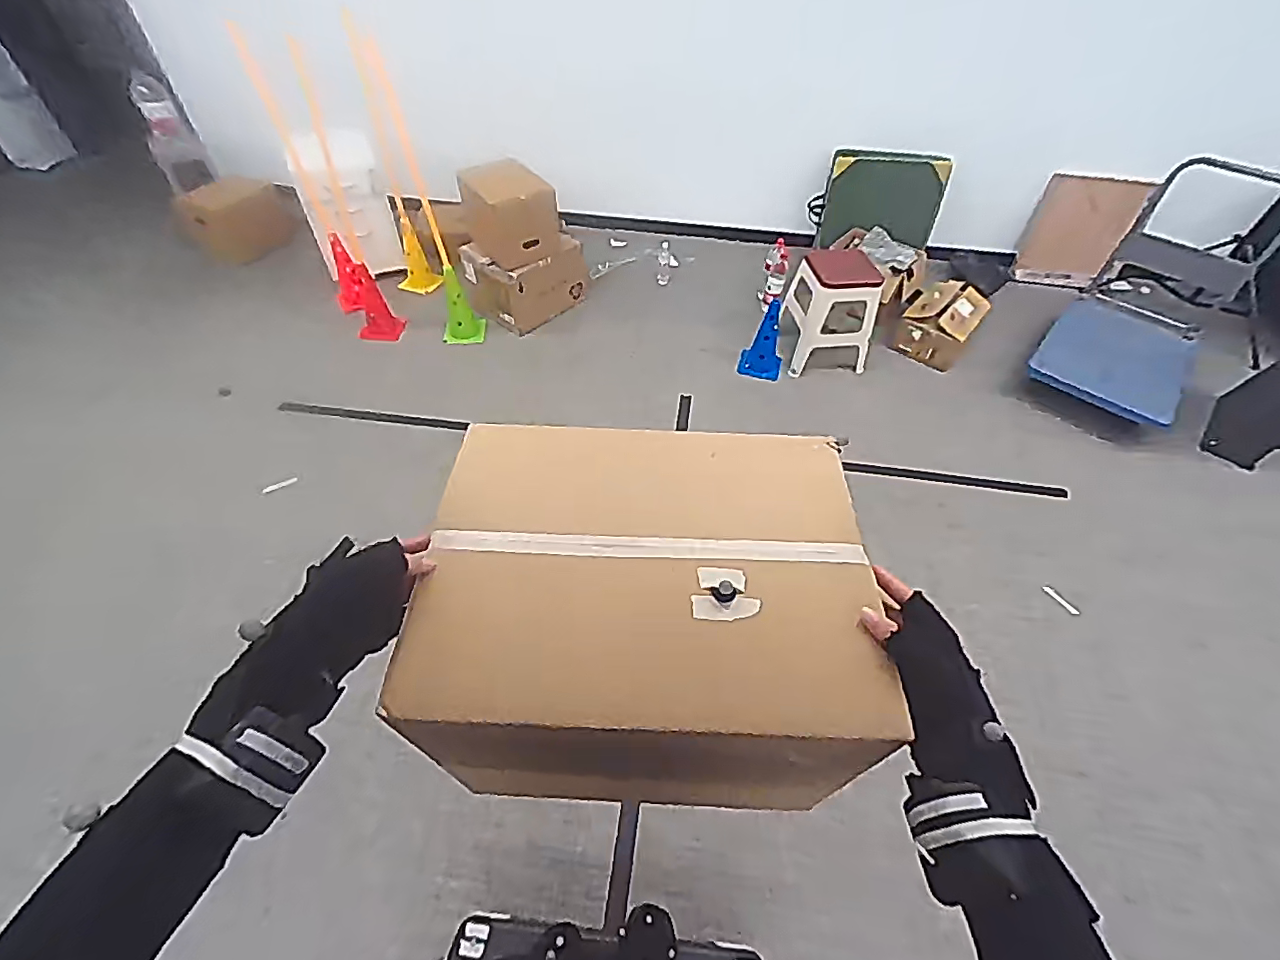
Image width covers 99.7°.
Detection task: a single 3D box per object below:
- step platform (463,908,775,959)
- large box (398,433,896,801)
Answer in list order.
[{"bbox_3d":[-0.046,1.109,1.123,0.684,0.204,0.286,6,50,1],"label":"step platform"},{"bbox_3d":[0.005,0.166,0.632,0.408,0.320,0.320,3,51,0],"label":"large box"}]
